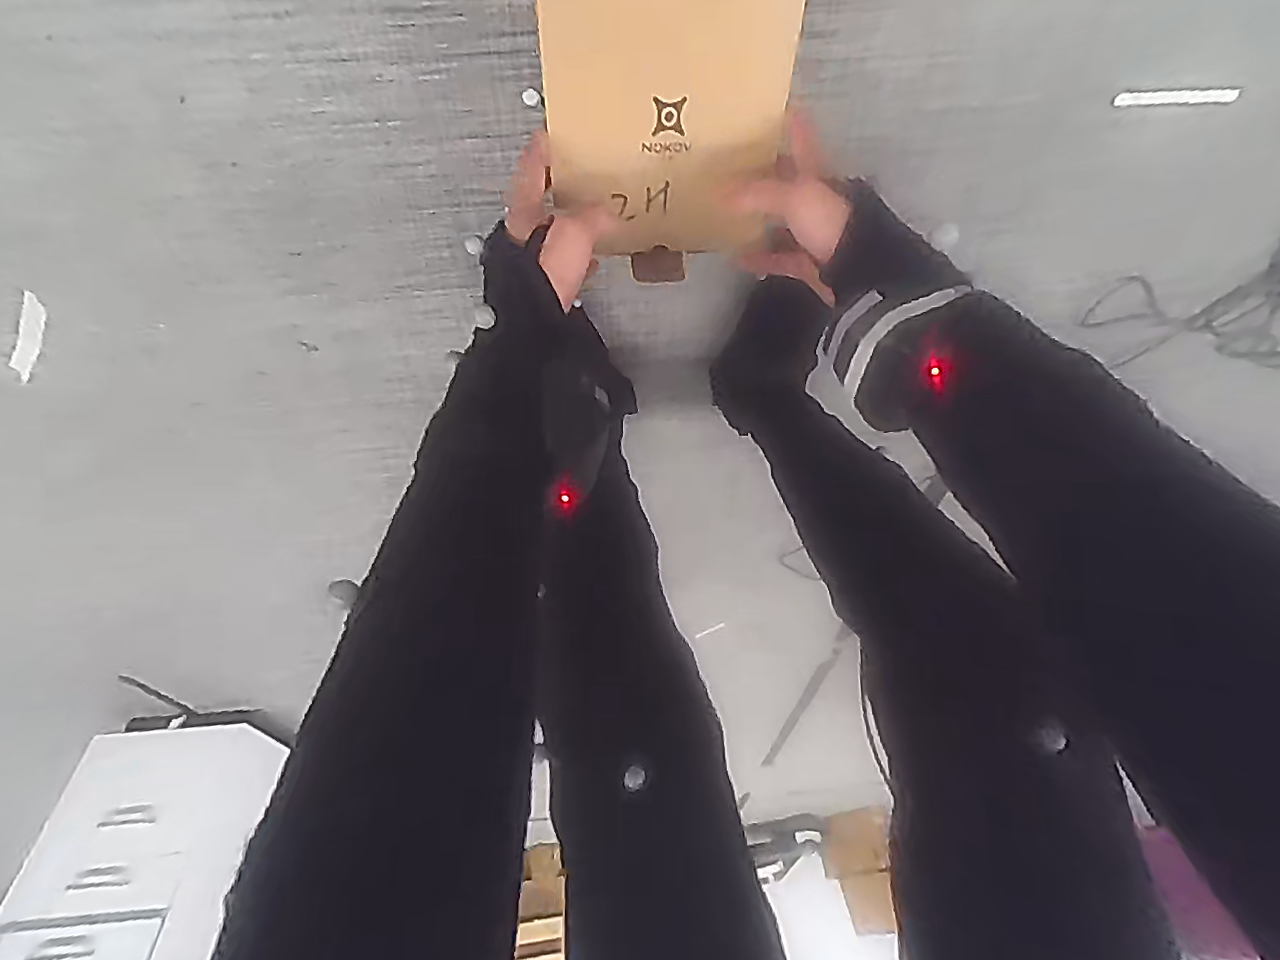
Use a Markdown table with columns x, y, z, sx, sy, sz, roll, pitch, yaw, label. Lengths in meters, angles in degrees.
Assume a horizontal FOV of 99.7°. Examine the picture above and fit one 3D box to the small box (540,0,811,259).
| x | y | z | sx | sy | sz | roll | pitch | yaw | label |
| --- | --- | --- | --- | --- | --- | --- | --- | --- | --- |
| 0.010 | -0.296 | 0.424 | 0.168 | 0.176 | 0.179 | -4 | 138 | -6 | small box |
